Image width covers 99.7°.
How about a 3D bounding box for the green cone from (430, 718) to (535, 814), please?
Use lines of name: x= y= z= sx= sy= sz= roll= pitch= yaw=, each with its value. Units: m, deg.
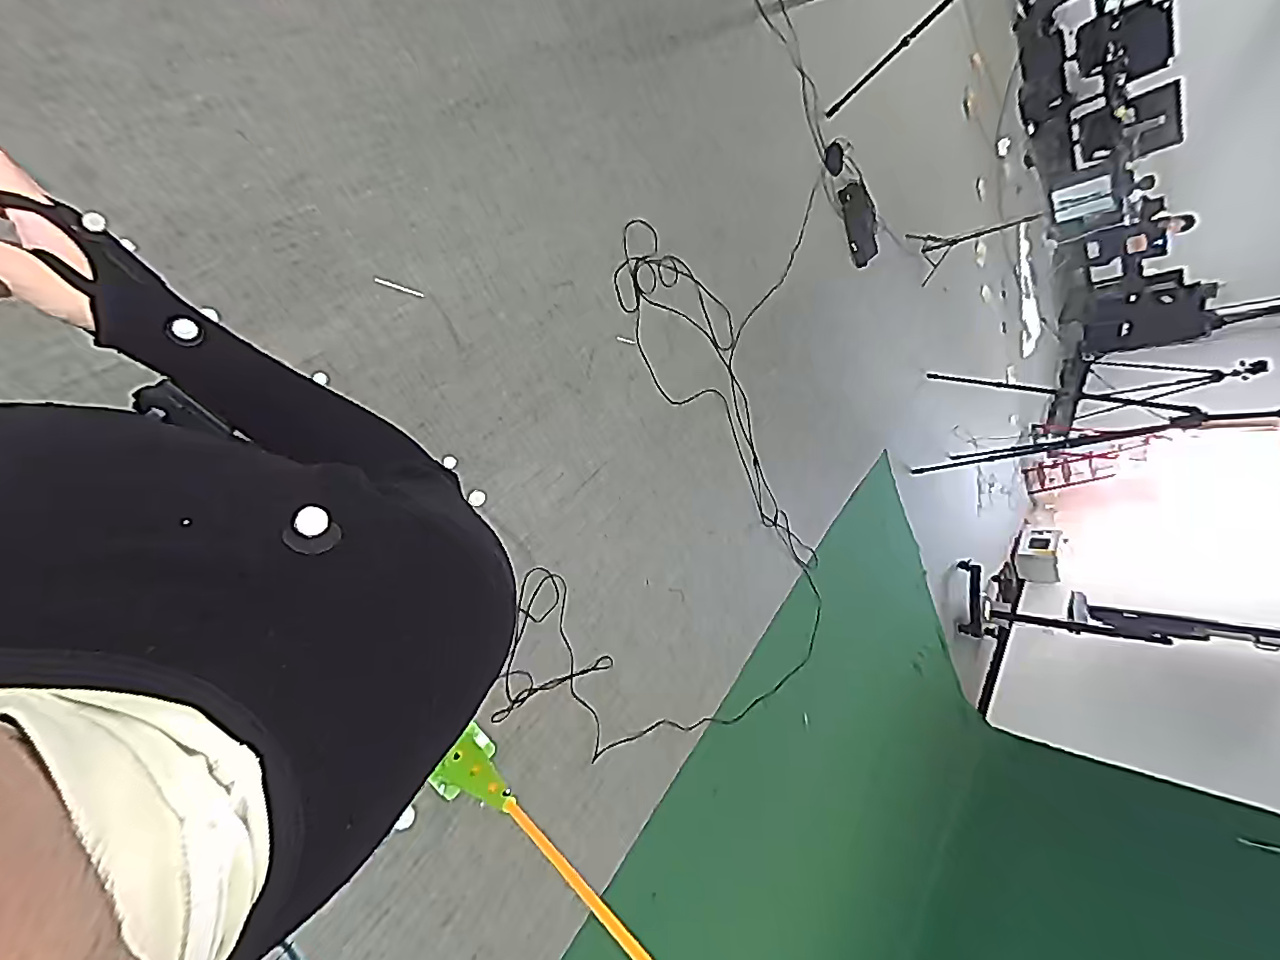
green cone: x=-0.421 y=0.886 z=1.581 sx=0.202 sy=0.368 sz=0.200 roll=-46 pitch=118 yaw=-33
